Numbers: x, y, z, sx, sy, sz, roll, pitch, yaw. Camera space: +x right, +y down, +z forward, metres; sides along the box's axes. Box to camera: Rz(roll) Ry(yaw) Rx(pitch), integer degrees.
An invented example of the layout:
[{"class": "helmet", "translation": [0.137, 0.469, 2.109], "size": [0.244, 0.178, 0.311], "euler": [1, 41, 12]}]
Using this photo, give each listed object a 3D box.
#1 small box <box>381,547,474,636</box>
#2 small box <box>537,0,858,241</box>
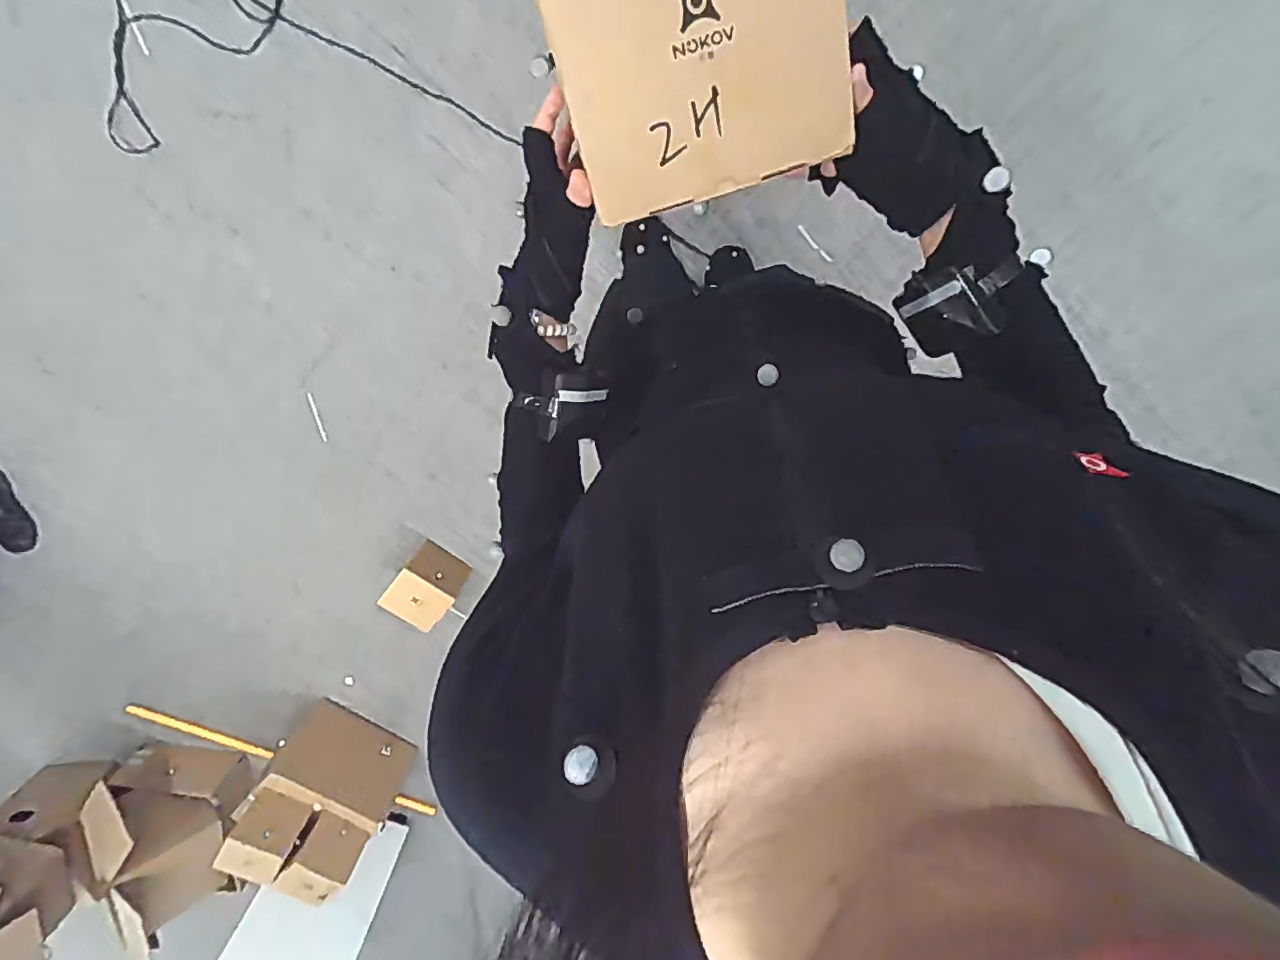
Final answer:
[{"class": "small box", "translation": [-0.639, 0.329, 1.644], "size": [0.179, 0.176, 0.168], "euler": [37, 110, -15]}, {"class": "small box", "translation": [0.028, -0.279, 0.367], "size": [0.168, 0.176, 0.179], "euler": [-15, 118, 4]}]
